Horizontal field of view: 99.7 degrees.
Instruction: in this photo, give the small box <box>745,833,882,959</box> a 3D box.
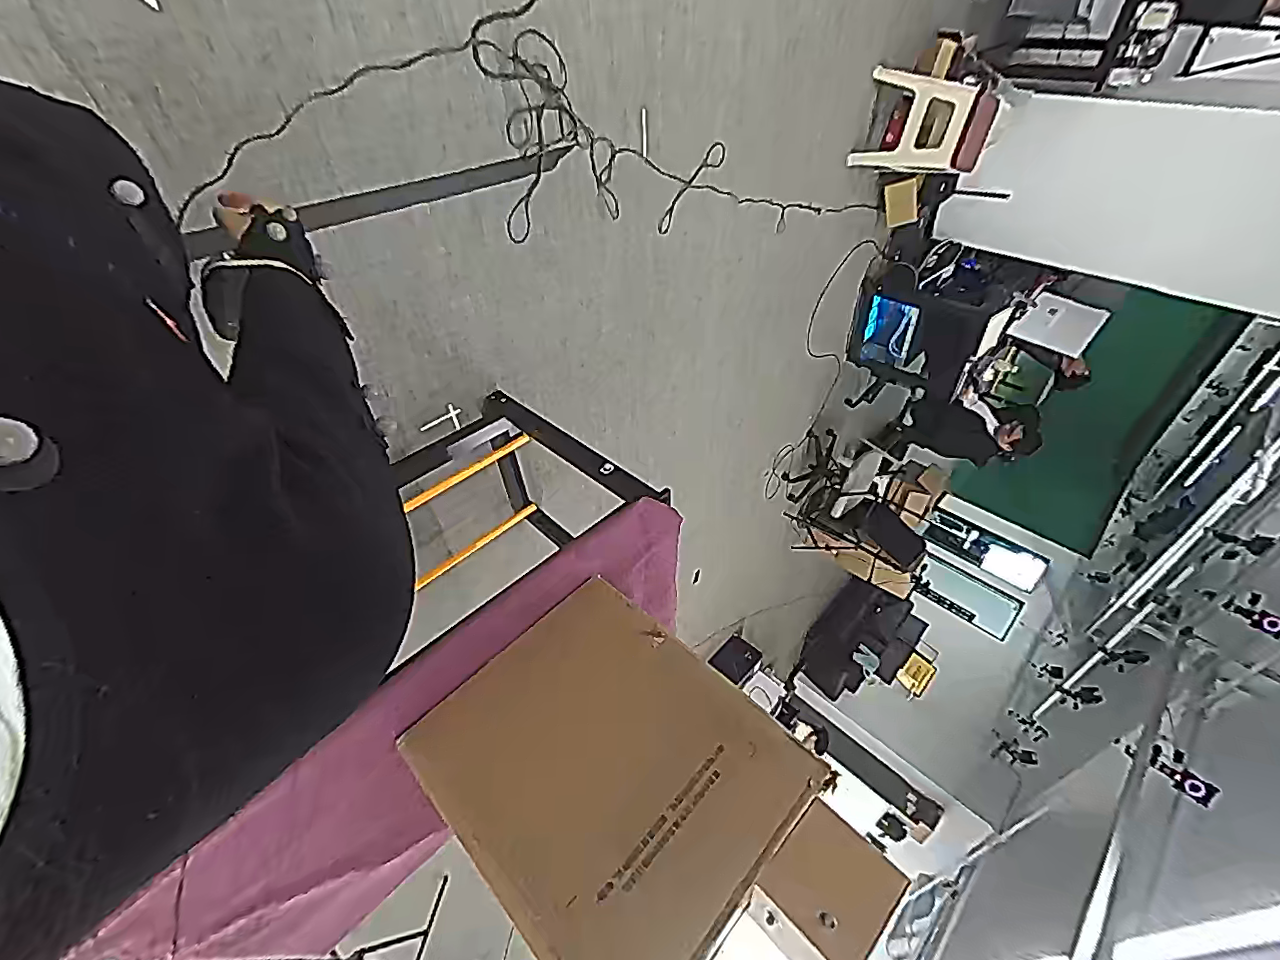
[{"bbox_3d":[0.315,0.808,1.014,0.168,0.176,0.179,-37,143,-29],"label":"small box"}]
